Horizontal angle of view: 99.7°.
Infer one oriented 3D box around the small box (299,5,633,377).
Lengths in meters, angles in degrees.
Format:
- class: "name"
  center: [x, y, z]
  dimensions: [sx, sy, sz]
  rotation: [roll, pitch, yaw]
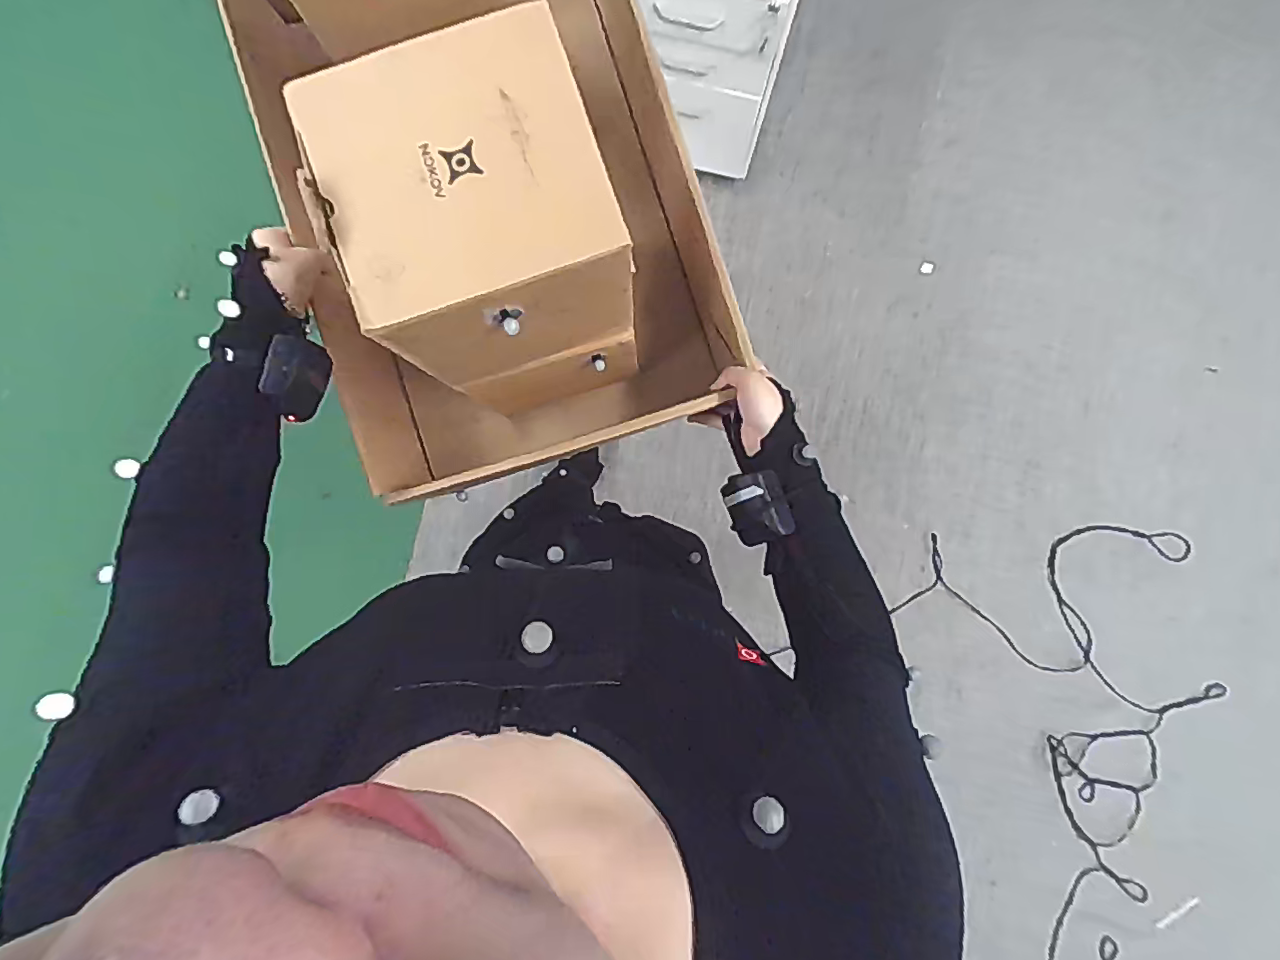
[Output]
- class: "small box"
  center: [-0.110, -0.194, 0.418]
  dimensions: [0.179, 0.176, 0.168]
  rotation: [-19, 88, -2]
